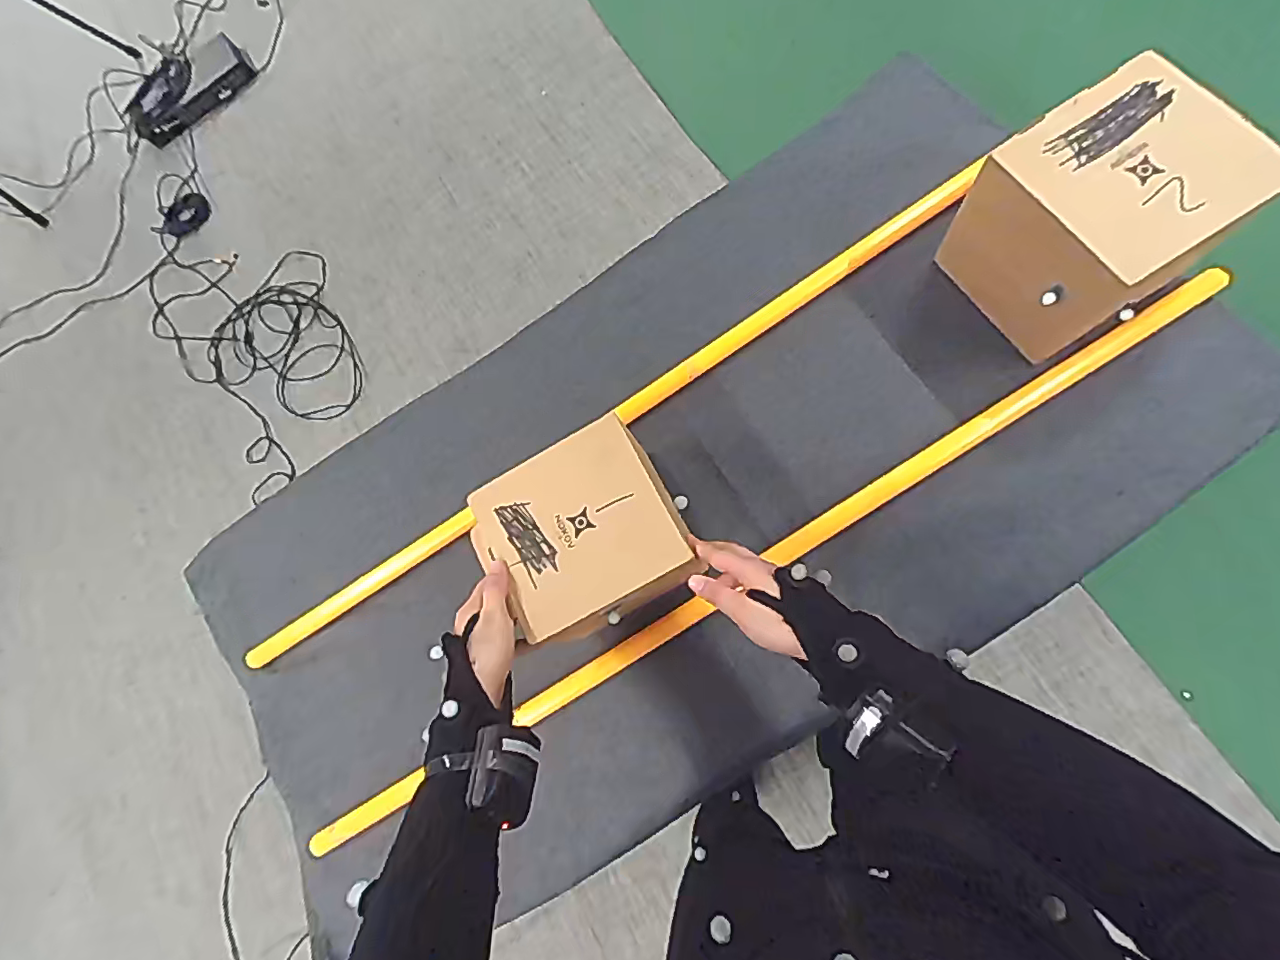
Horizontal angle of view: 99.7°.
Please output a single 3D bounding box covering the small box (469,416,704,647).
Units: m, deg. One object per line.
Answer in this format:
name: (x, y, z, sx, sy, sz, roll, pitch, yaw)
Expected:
small box: (-0.046, 0.063, 0.589, 0.179, 0.176, 0.168, -30, 74, 4)
